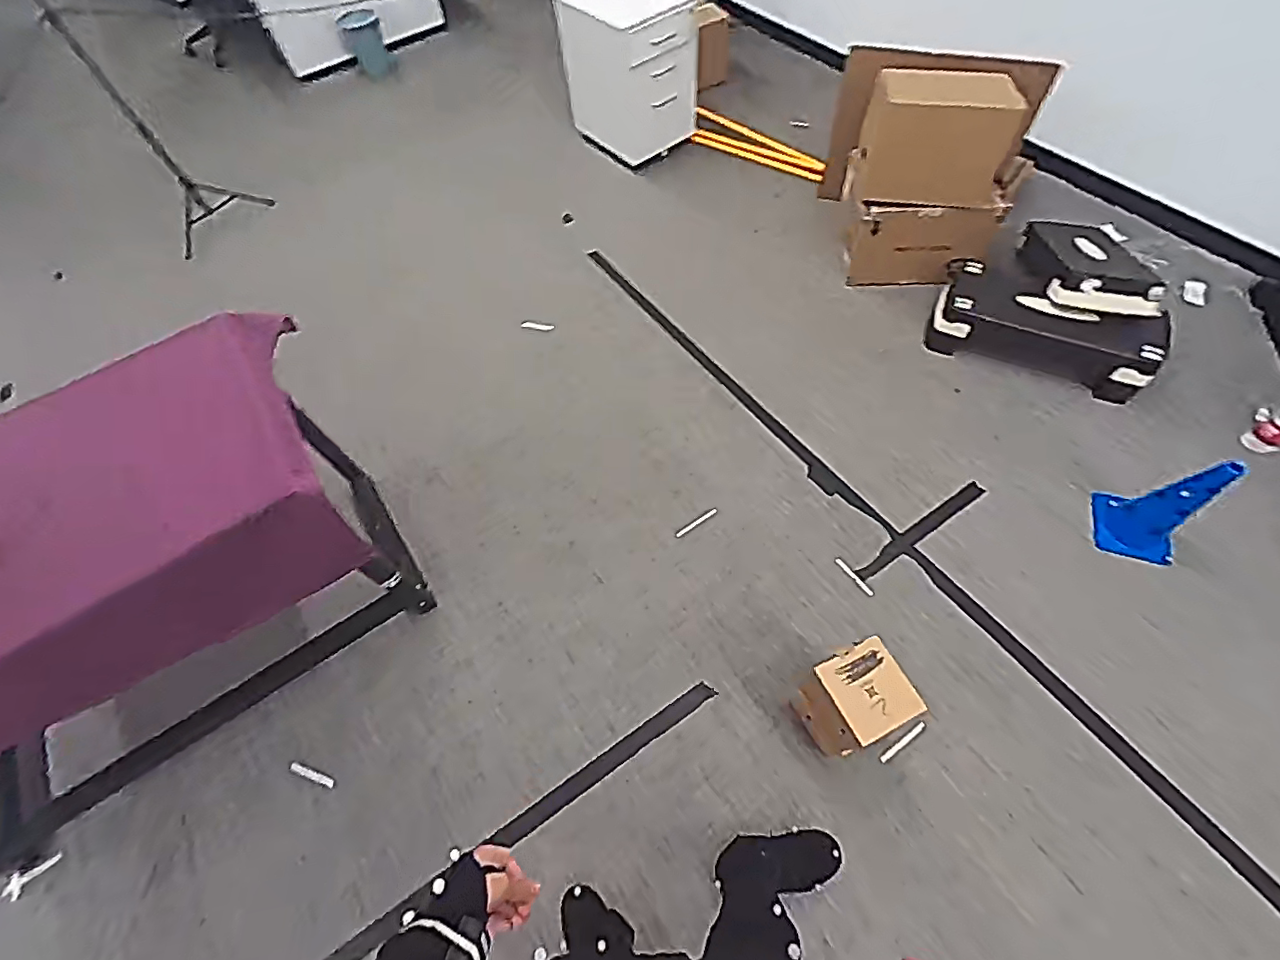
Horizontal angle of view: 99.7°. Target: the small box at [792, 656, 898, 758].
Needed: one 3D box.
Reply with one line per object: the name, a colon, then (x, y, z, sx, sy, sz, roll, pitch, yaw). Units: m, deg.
small box: (0.501, 0.574, 1.355, 0.179, 0.176, 0.168, -28, 62, -12)
